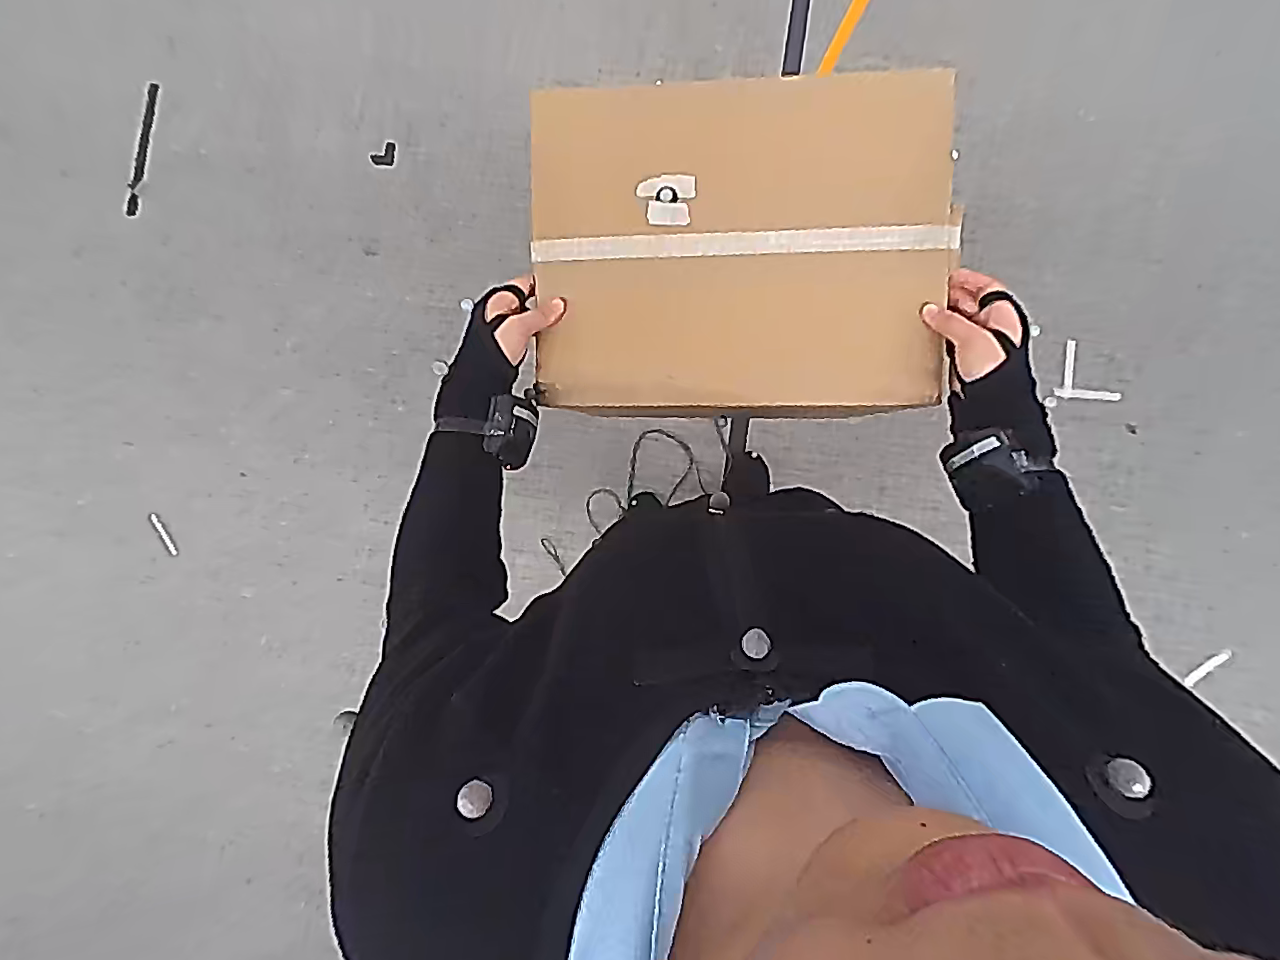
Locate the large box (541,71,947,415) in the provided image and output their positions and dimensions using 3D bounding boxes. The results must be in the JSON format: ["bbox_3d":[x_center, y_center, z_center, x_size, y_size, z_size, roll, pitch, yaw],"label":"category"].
[{"bbox_3d":[0.115,-0.245,0.691,0.408,0.320,0.320,0,93,7],"label":"large box"}]
